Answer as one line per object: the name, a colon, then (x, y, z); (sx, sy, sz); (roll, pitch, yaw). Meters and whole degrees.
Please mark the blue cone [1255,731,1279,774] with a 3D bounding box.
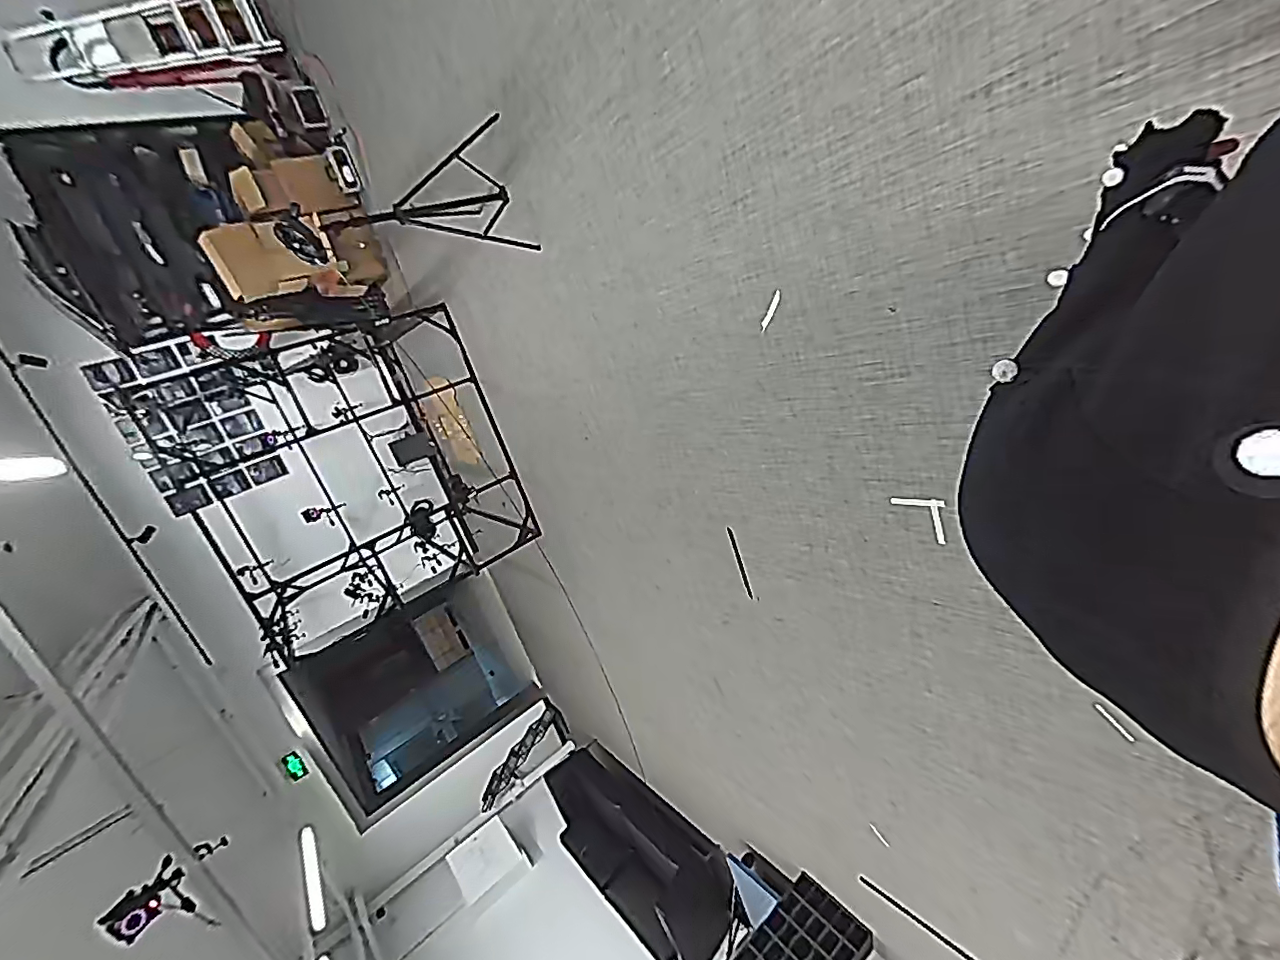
blue cone: (1.429, 0.720, 1.140); (0.193, 0.380, 0.192); (33, 141, 41)
